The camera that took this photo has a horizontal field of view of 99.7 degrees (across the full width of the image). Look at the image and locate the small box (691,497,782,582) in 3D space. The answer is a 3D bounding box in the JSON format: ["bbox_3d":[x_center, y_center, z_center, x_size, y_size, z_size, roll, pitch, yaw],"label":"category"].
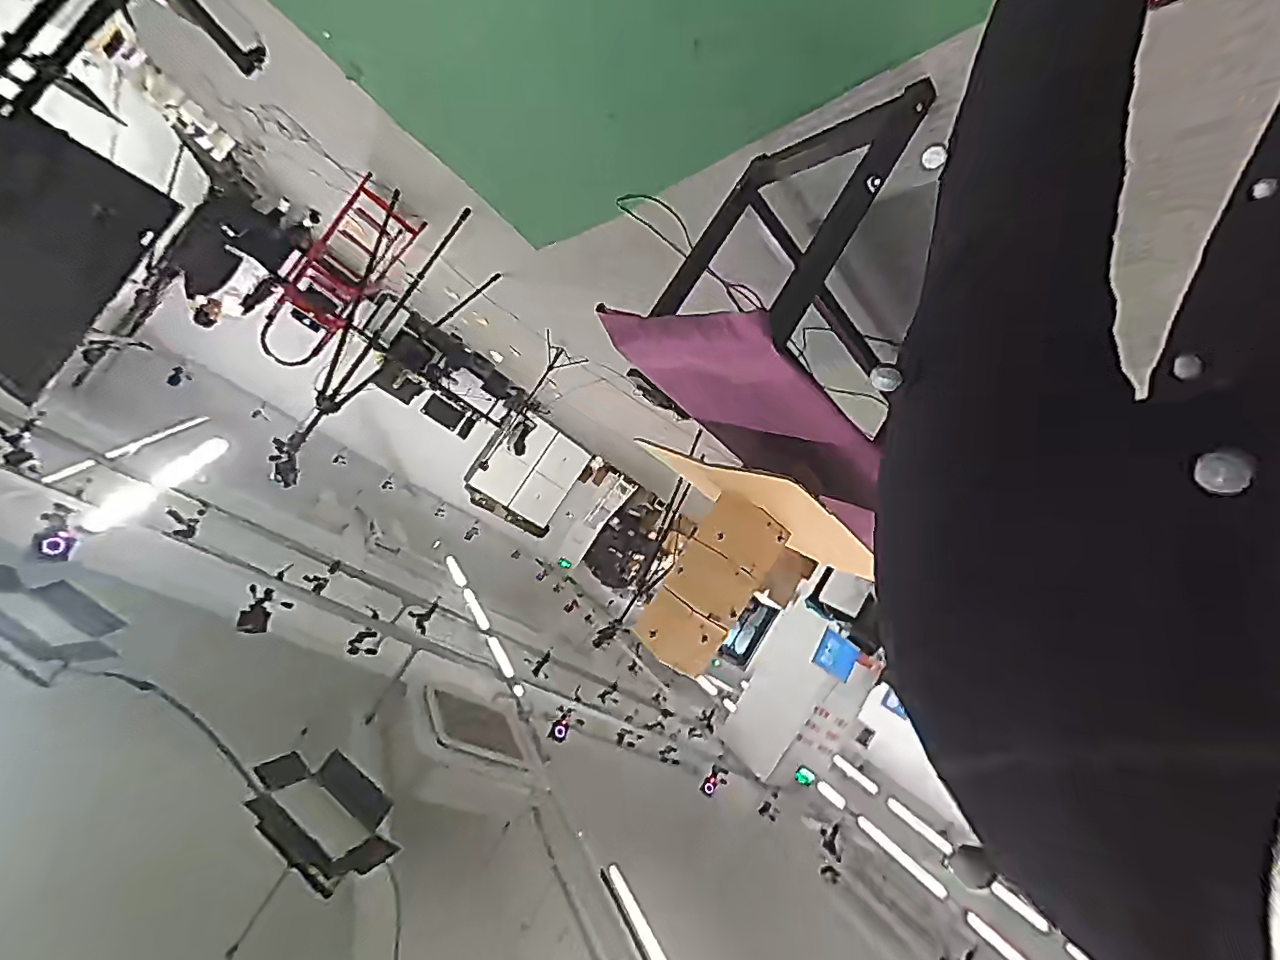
[{"bbox_3d":[0.289,0.167,1.580,0.168,0.176,0.179,36,173,-31],"label":"small box"}]

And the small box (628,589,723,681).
[{"bbox_3d":[0.104,0.437,1.556,0.168,0.176,0.179,37,174,-31],"label":"small box"}]
